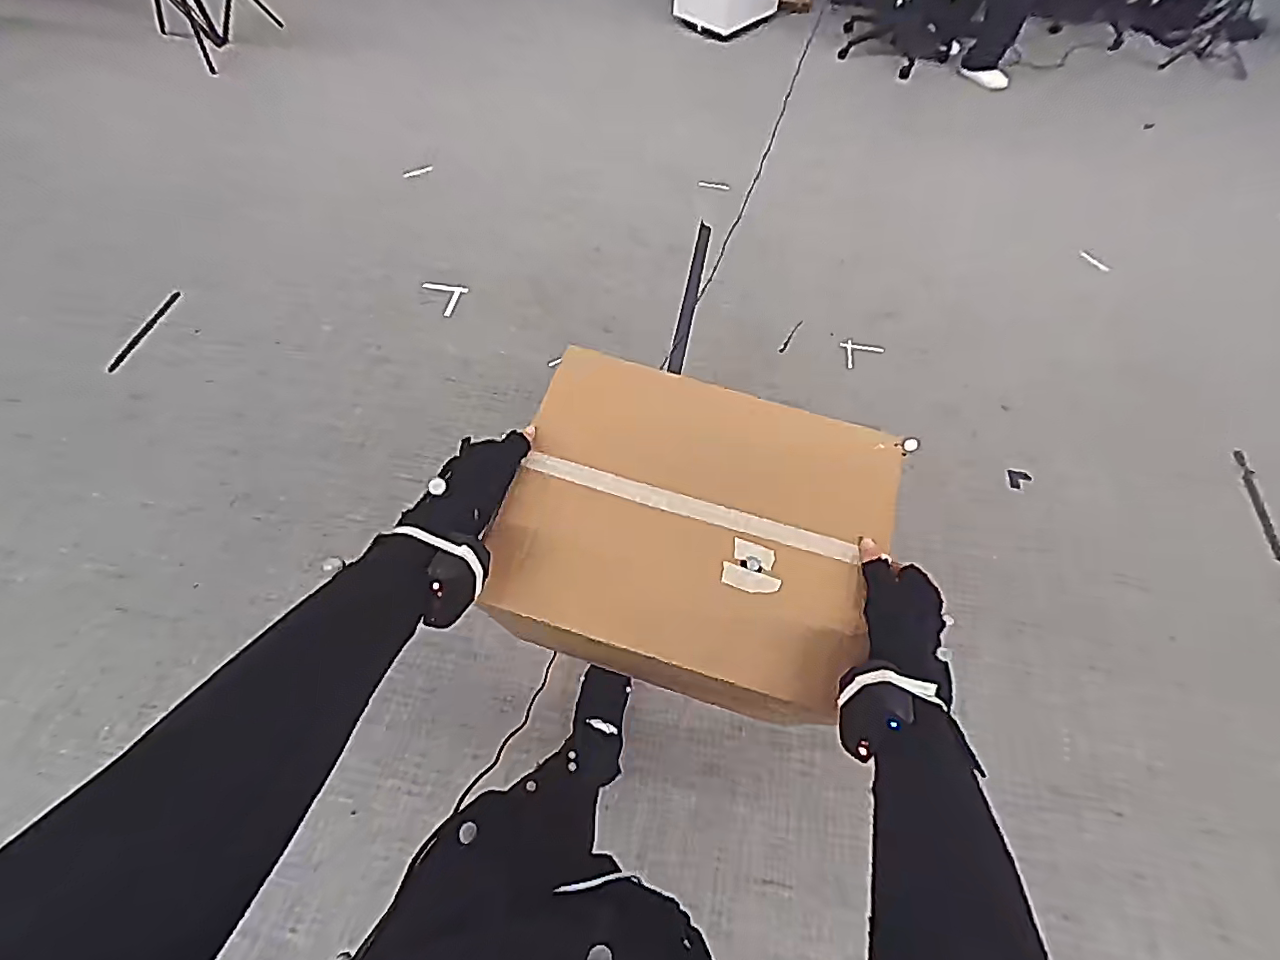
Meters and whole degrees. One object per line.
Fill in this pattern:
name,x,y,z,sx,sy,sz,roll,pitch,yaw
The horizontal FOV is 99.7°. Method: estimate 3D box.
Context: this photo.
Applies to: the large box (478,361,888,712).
large box,0.054,0.096,0.728,0.408,0.320,0.320,17,67,4
